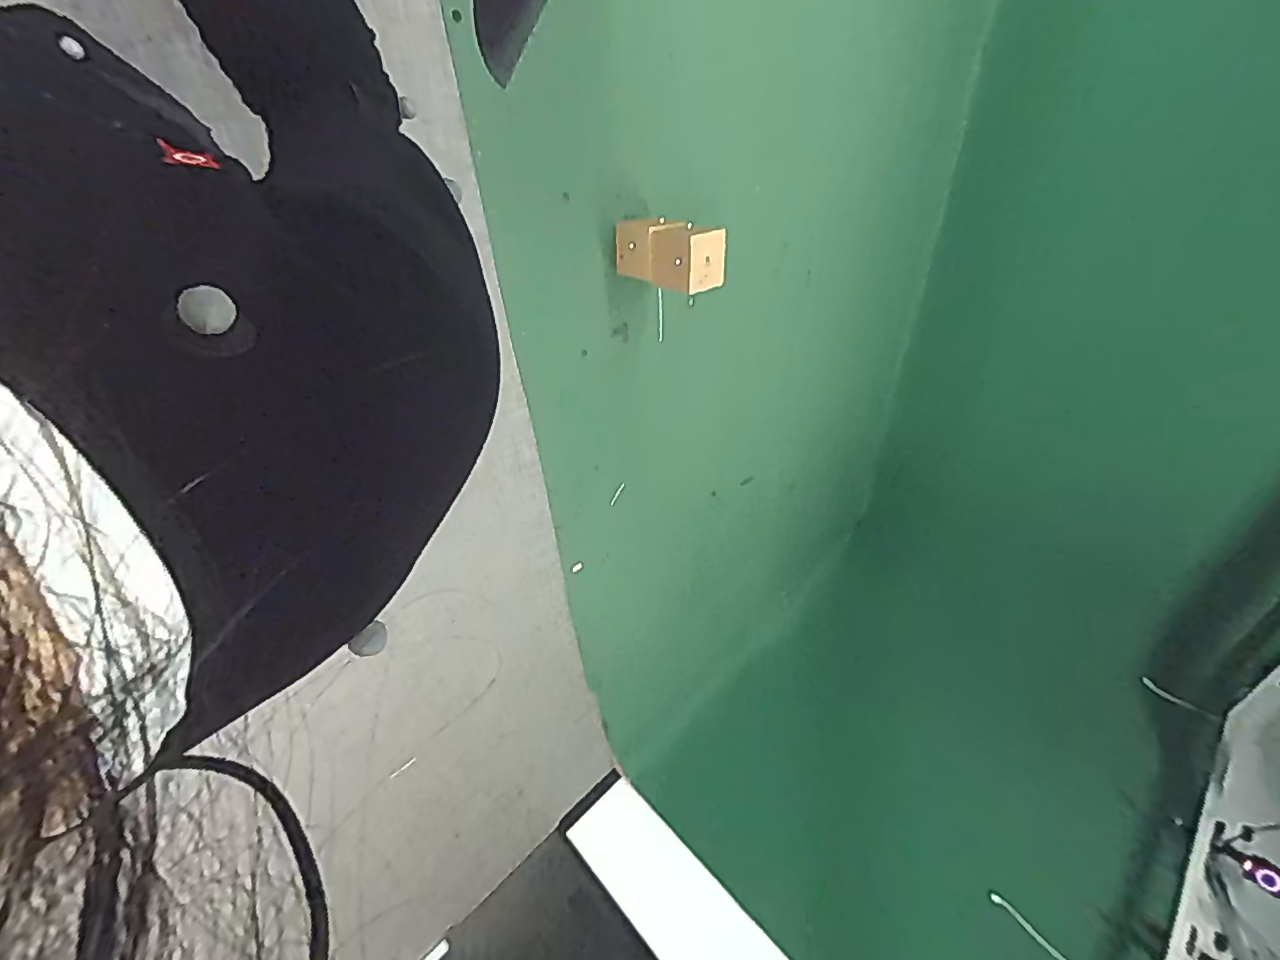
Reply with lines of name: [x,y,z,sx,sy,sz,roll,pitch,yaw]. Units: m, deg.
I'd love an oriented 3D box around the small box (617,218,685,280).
small box: [0.033,-0.786,1.834,0.179,0.176,0.168,-28,132,-35]

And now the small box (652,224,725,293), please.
small box: [0.153,-0.719,1.744,0.168,0.176,0.179,-28,133,-34]
